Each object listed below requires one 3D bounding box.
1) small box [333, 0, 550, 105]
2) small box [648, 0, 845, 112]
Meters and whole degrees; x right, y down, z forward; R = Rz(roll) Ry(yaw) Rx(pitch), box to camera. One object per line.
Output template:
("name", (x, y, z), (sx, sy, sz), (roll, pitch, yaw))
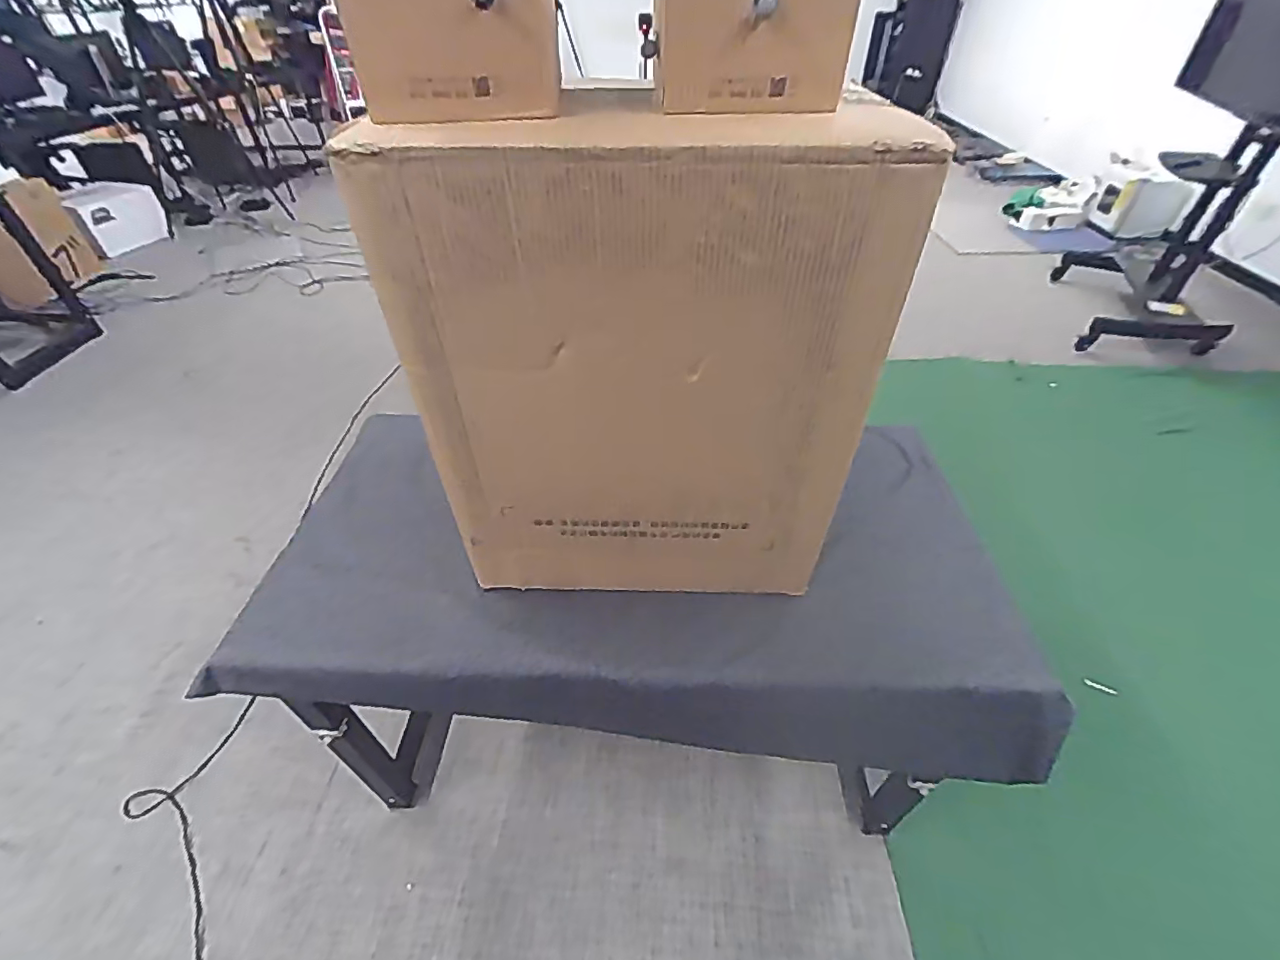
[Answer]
("small box", (-0.174, -0.451, 0.483), (0.168, 0.176, 0.179), (-7, 47, -5))
("small box", (0.092, -0.460, 0.505), (0.168, 0.176, 0.179), (-2, 47, -1))
